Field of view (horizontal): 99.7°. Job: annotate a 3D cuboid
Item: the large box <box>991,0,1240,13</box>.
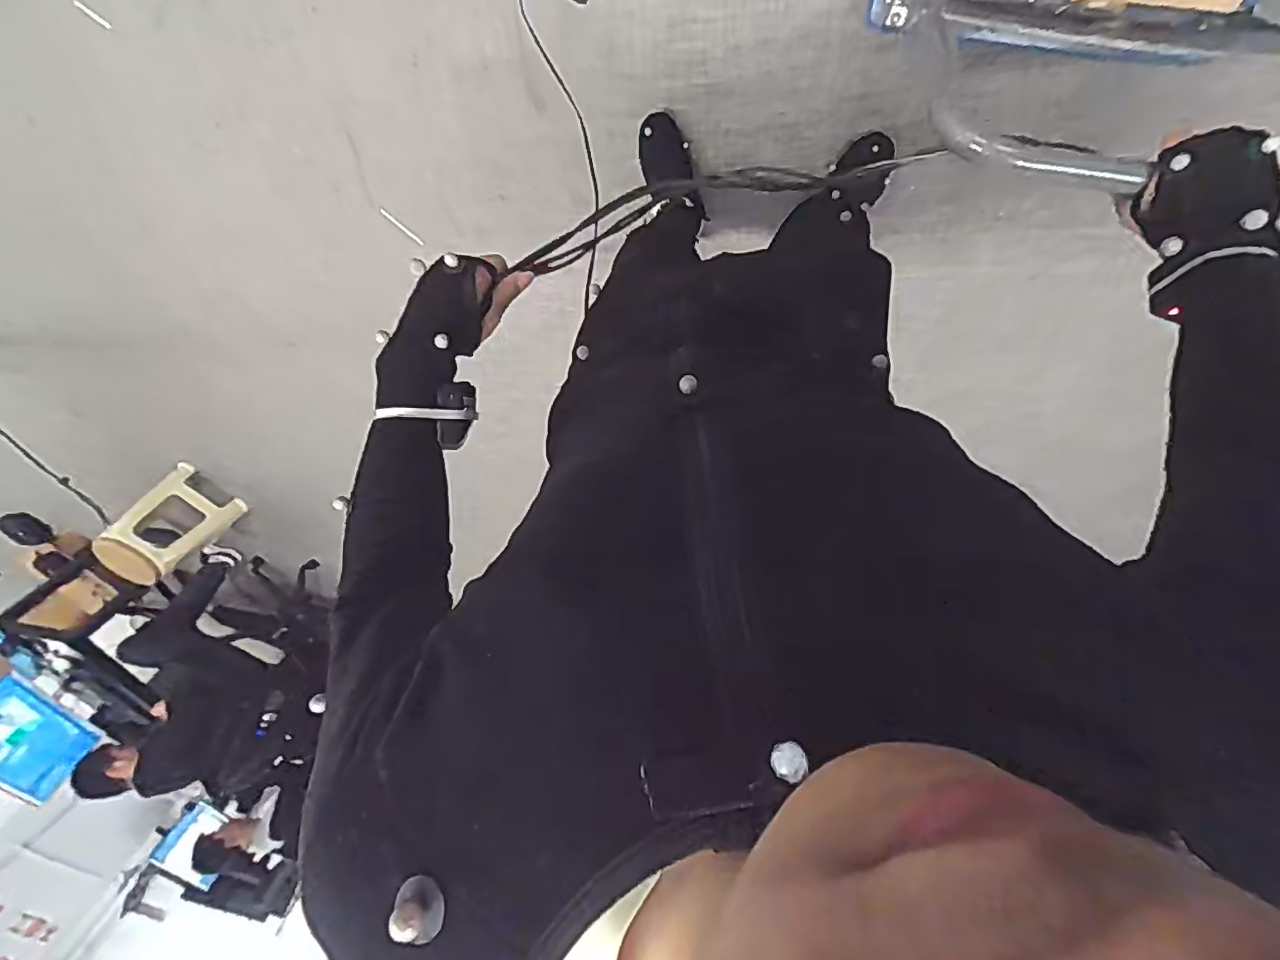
[{"bbox_3d":[0.627,-0.842,0.654,0.320,0.320,0.408,13,134,7],"label":"large box"}]
